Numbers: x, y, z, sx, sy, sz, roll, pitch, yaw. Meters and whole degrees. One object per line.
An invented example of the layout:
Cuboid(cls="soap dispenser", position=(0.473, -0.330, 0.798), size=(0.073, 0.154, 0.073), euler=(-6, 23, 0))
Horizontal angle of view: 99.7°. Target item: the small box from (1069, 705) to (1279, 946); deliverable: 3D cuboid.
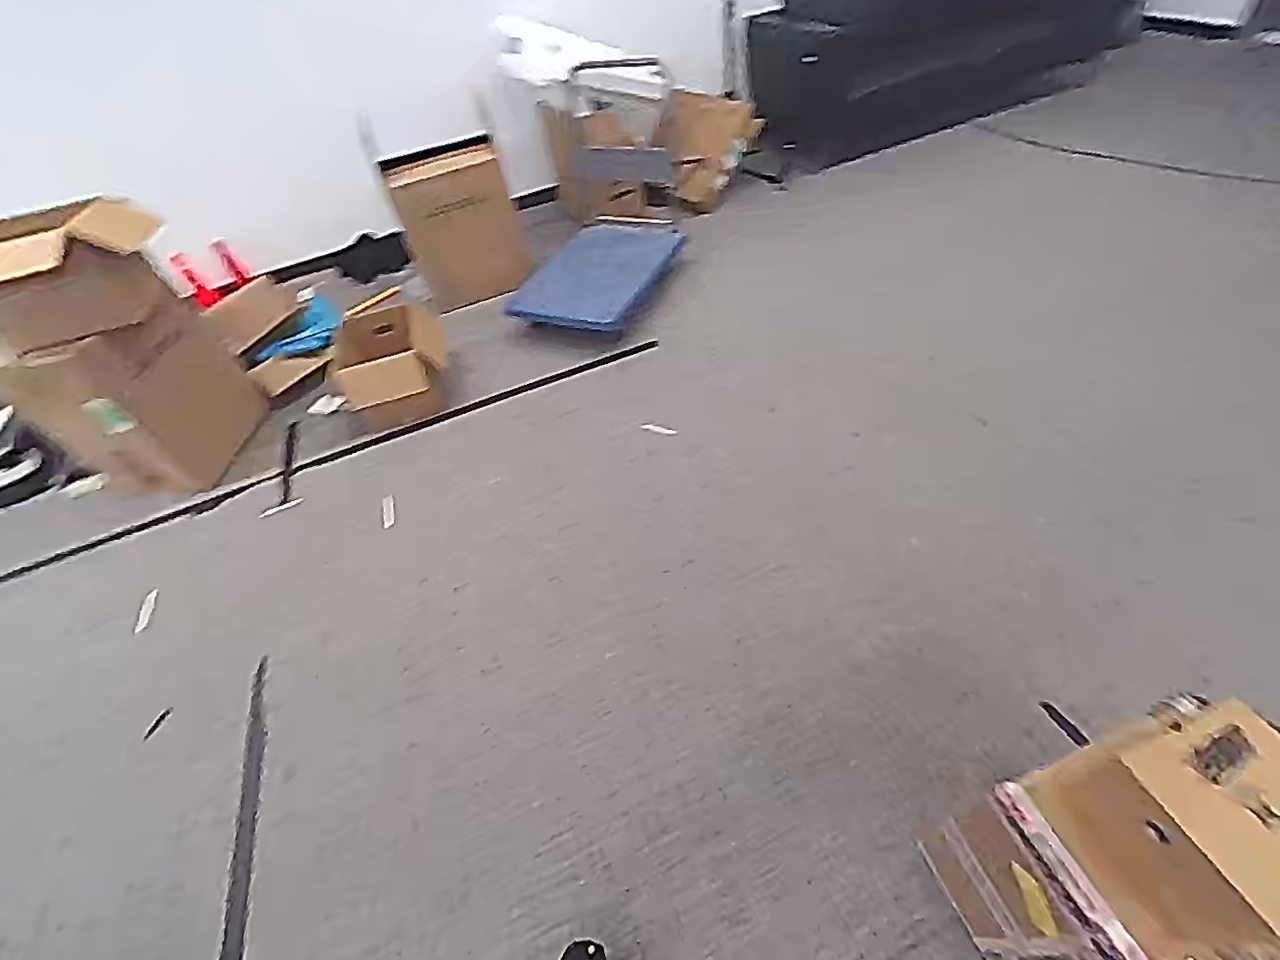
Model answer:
Cuboid(cls="small box", position=(0.651, 0.394, 0.616), size=(0.168, 0.176, 0.179), euler=(-21, 48, -4))
